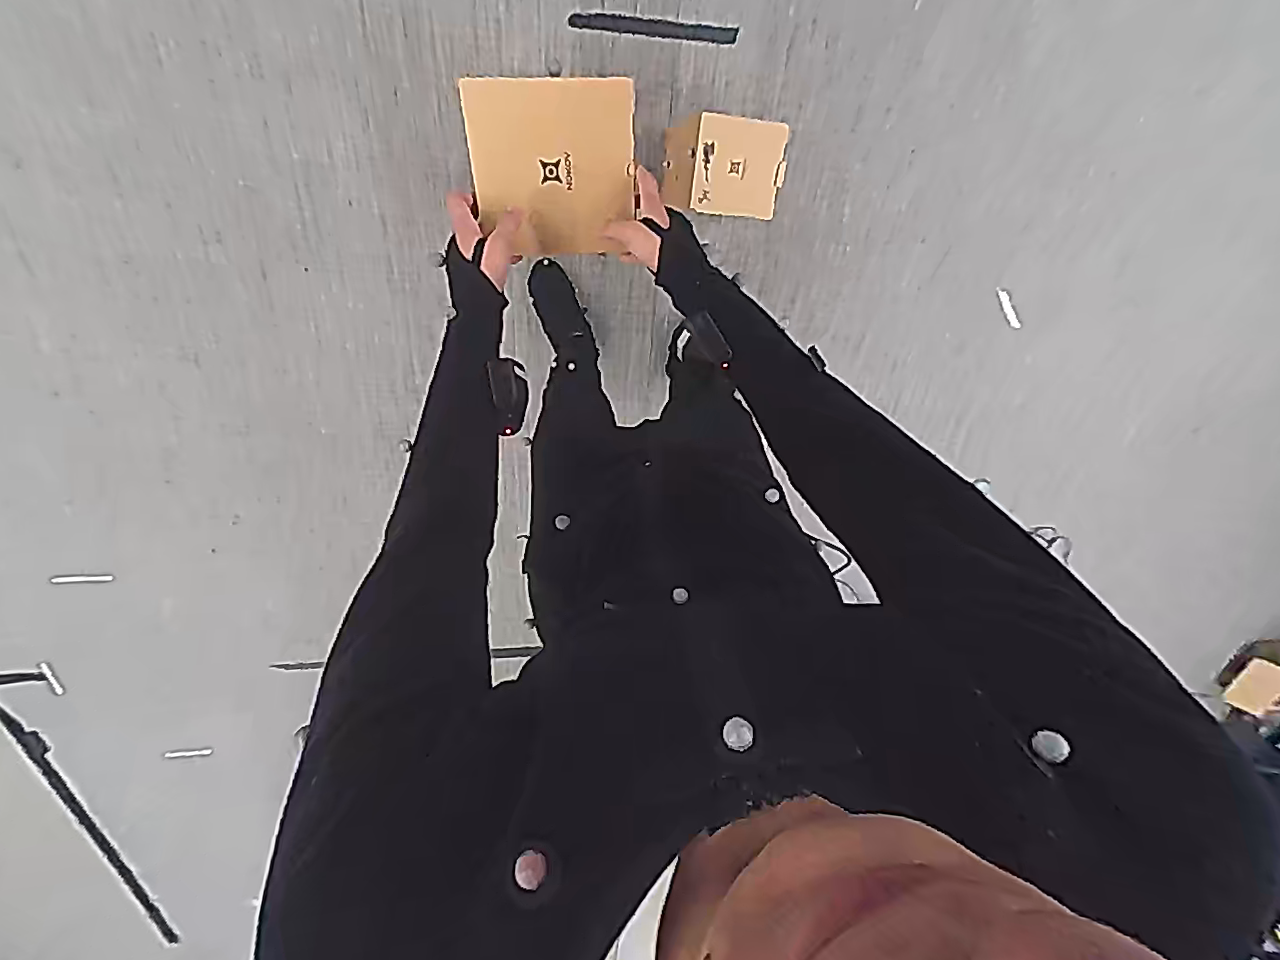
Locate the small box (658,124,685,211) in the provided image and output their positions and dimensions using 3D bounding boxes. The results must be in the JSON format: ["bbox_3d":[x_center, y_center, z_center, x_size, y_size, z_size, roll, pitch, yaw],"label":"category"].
[{"bbox_3d":[0.144,-0.707,1.249,0.179,0.176,0.168,0,119,-11],"label":"small box"}]

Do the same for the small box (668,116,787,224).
[{"bbox_3d":[0.170,-0.630,1.107,0.179,0.176,0.168,1,118,-12],"label":"small box"}]

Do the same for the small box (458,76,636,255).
[{"bbox_3d":[-0.102,-0.369,0.642,0.179,0.176,0.168,-5,122,-7],"label":"small box"}]
